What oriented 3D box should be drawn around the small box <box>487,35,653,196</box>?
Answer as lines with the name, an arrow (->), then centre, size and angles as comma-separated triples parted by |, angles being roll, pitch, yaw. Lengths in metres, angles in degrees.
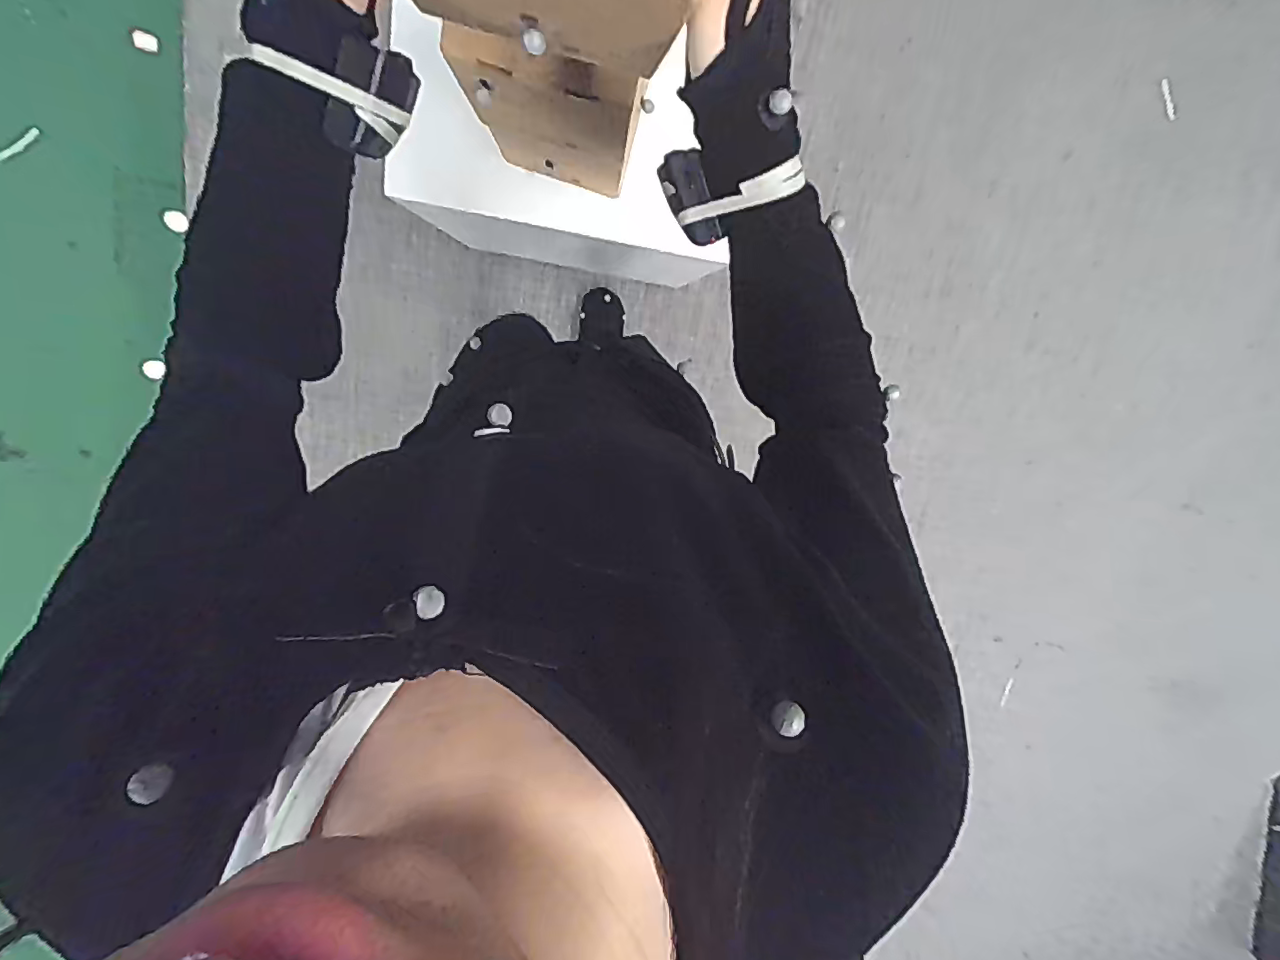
small box -> -0.076, -0.481, 0.664 | 0.168, 0.176, 0.179 | 14, 104, -8

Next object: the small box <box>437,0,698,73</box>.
small box -> -0.040, -0.351, 0.276 | 0.168, 0.176, 0.179 | 8, 113, -10
